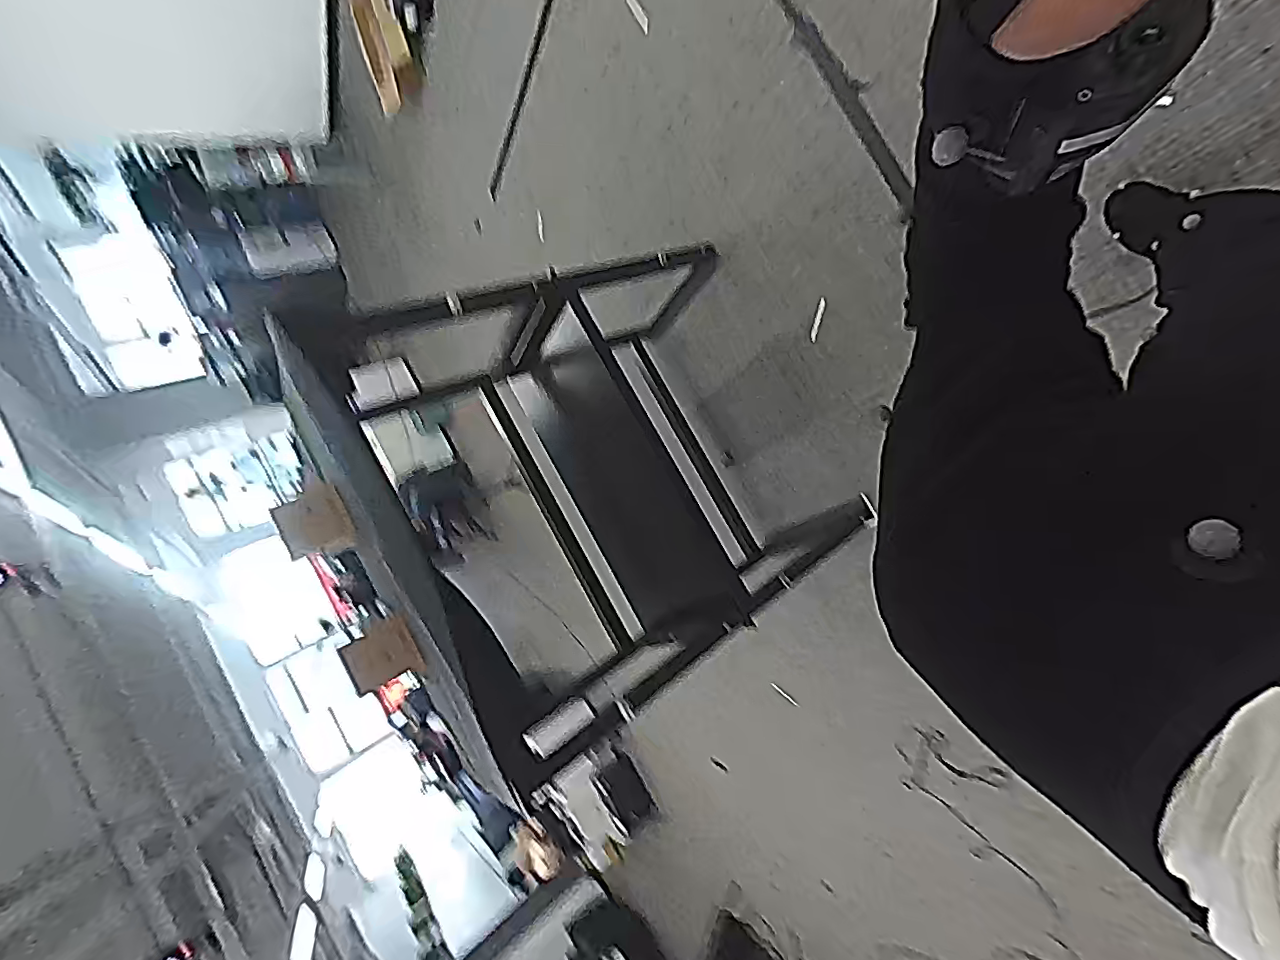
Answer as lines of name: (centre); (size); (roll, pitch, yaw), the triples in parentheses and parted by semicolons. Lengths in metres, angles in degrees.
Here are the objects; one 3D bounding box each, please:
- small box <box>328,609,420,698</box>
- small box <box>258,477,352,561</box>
small box: (-0.715, 0.465, 1.458); (0.168, 0.176, 0.179); (61, 146, 4)
small box: (-0.918, 0.107, 1.493); (0.179, 0.176, 0.168); (-24, 91, 57)
